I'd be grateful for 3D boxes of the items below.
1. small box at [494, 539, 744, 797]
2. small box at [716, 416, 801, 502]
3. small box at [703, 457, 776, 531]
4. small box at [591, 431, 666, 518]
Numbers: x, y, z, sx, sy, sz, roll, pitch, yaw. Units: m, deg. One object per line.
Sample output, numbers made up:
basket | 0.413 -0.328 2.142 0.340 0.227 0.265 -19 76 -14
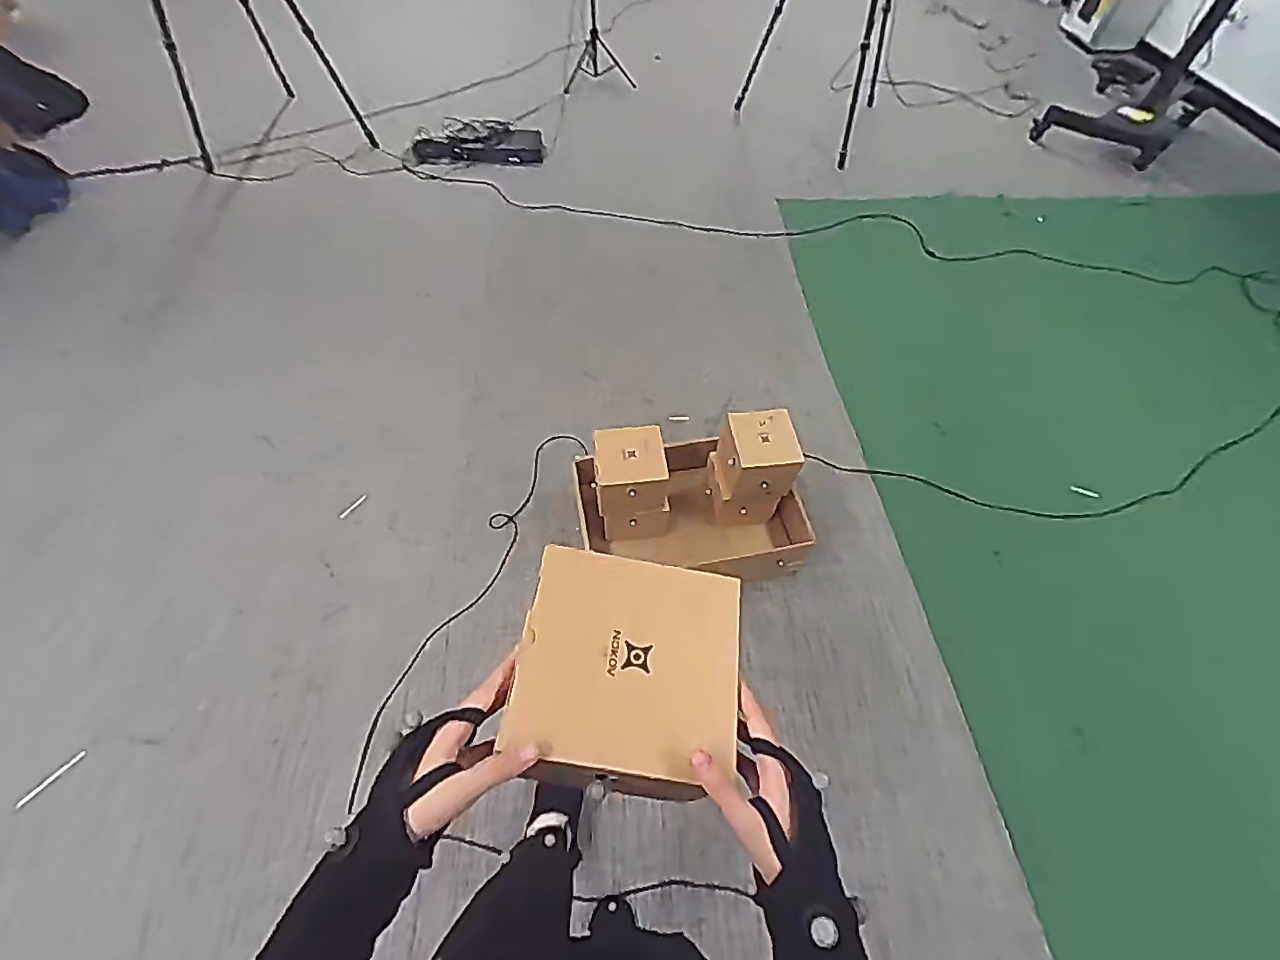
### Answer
small box | -0.018 0.178 0.489 0.179 0.176 0.168 12 55 -3
small box | 0.311 -0.050 1.454 0.168 0.176 0.179 -4 57 -7
small box | 0.288 0.039 1.592 0.179 0.176 0.168 -5 58 -6
small box | -0.035 -0.010 1.411 0.179 0.176 0.168 -4 59 -7
